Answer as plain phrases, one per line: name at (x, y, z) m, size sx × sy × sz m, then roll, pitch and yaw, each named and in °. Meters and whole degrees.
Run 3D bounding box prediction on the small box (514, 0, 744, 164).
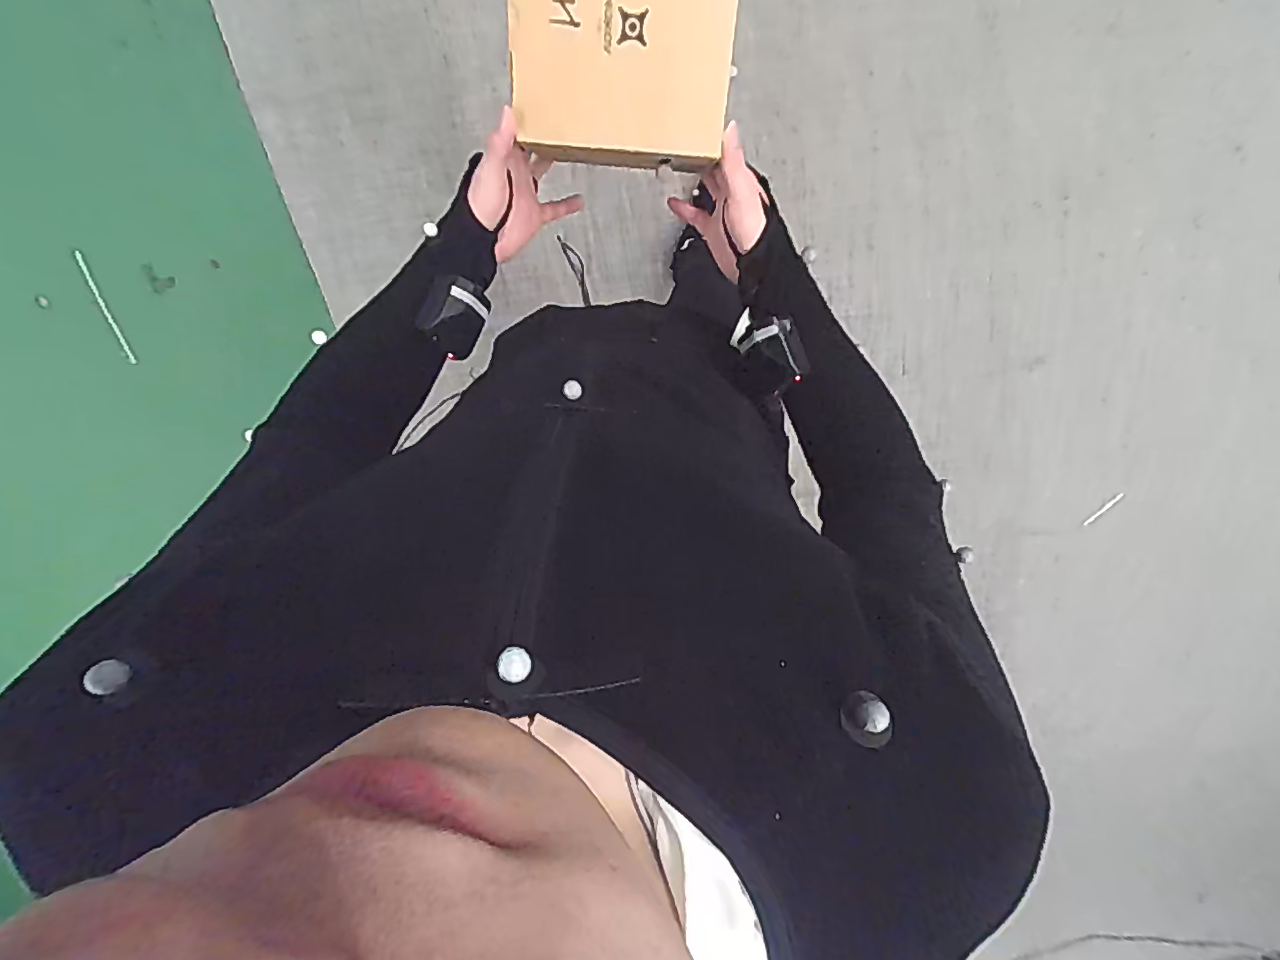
small box at (-0.008, -0.388, 0.485) m, size 0.179 × 0.176 × 0.168 m, roll 5°, pitch 116°, yaw 0°
